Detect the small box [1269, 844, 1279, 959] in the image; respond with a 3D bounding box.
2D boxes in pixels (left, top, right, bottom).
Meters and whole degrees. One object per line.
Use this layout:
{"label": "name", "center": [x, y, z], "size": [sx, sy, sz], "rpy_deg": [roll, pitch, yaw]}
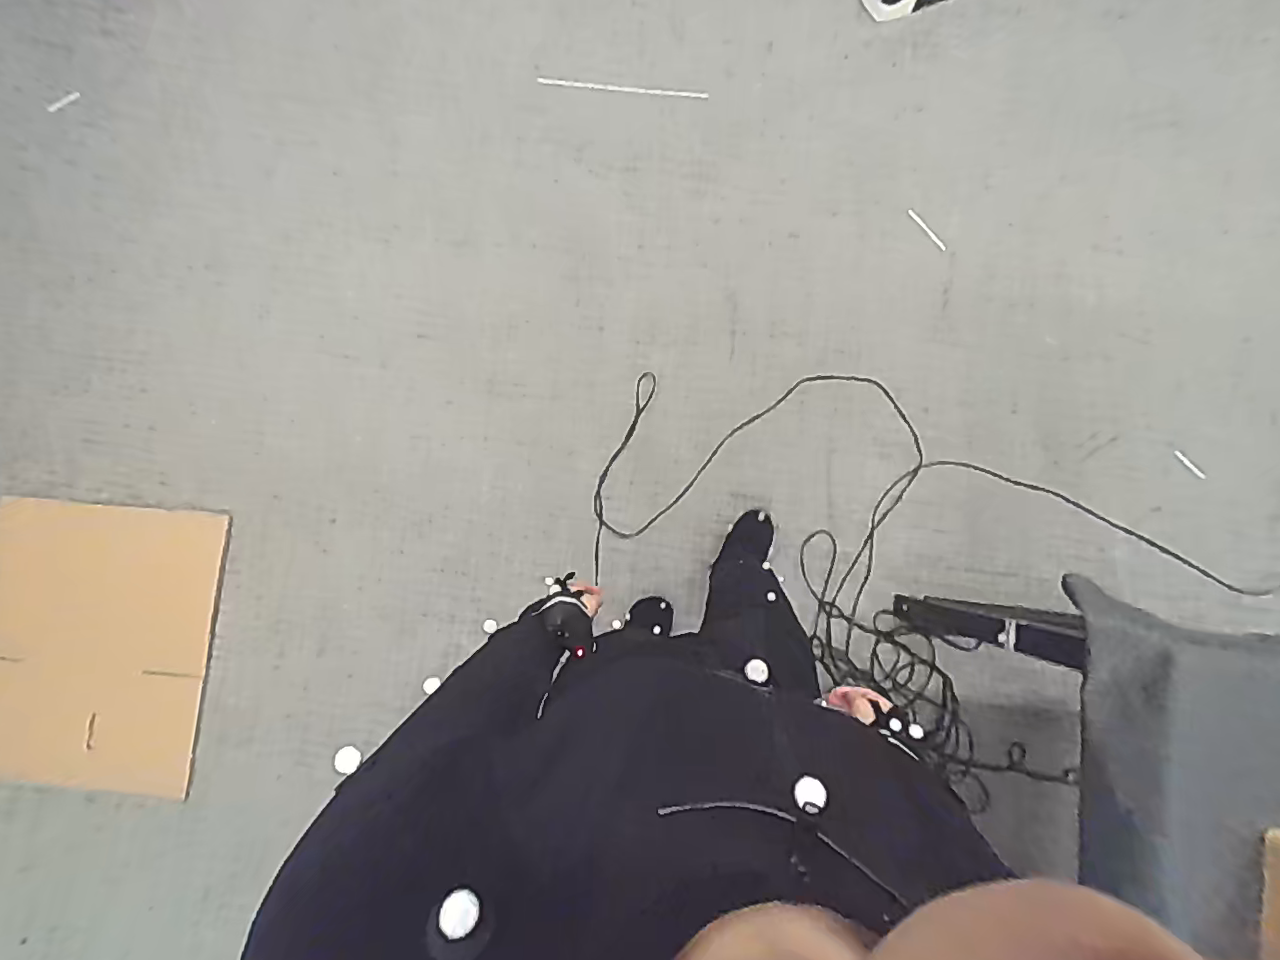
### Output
{"label": "small box", "center": [0.753, 0.466, 0.497], "size": [0.168, 0.176, 0.179], "rpy_deg": [7, 85, 1]}
